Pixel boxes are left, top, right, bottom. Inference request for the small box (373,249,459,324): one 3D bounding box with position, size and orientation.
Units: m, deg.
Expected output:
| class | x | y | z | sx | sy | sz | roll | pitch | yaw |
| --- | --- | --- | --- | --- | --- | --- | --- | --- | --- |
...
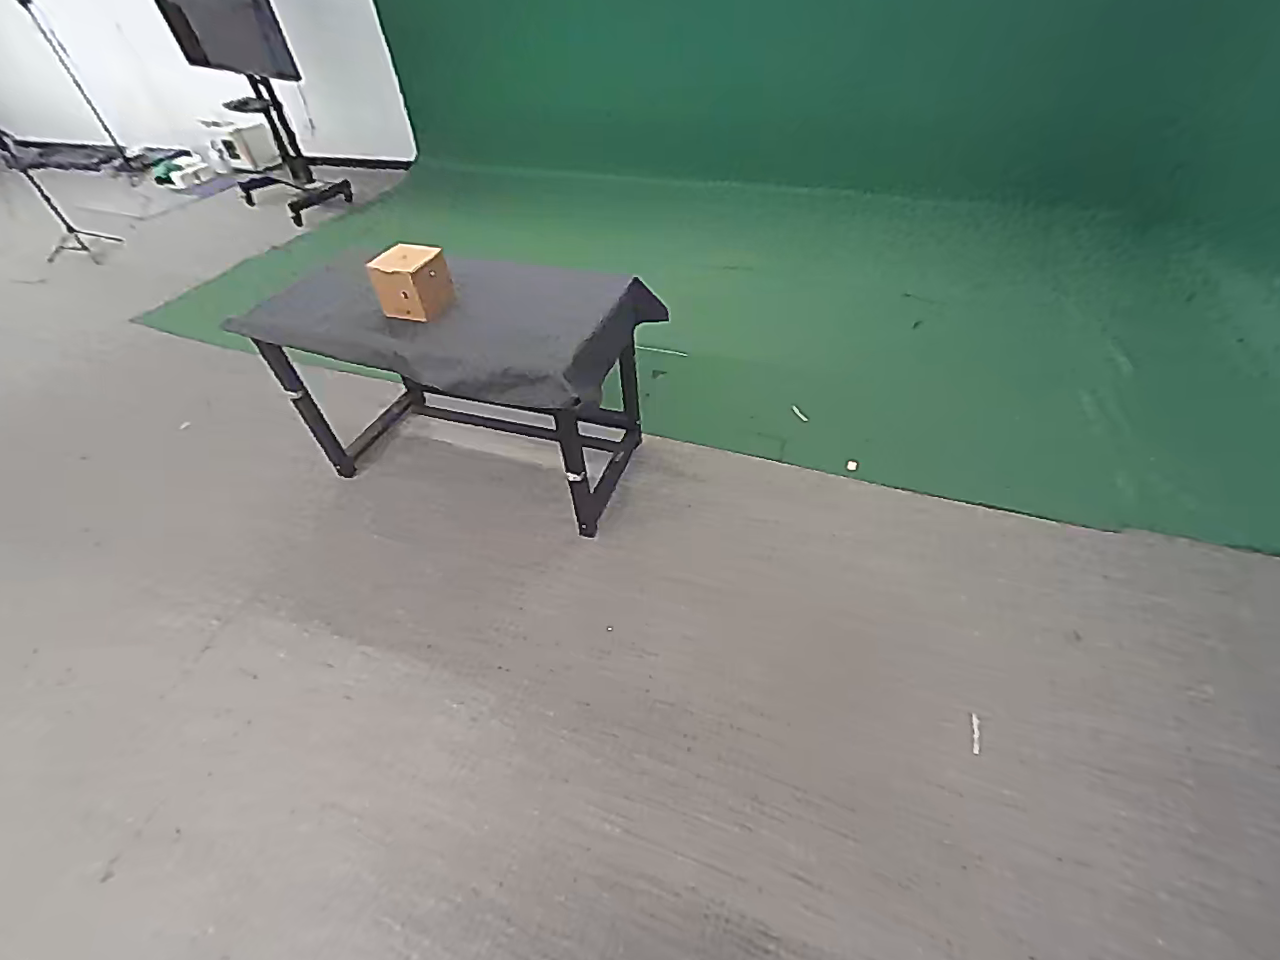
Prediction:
| class | x | y | z | sx | sy | sz | roll | pitch | yaw |
| --- | --- | --- | --- | --- | --- | --- | --- | --- | --- |
| small box | -0.712 | -0.623 | 1.743 | 0.168 | 0.176 | 0.179 | 13 | 47 | 15 |
